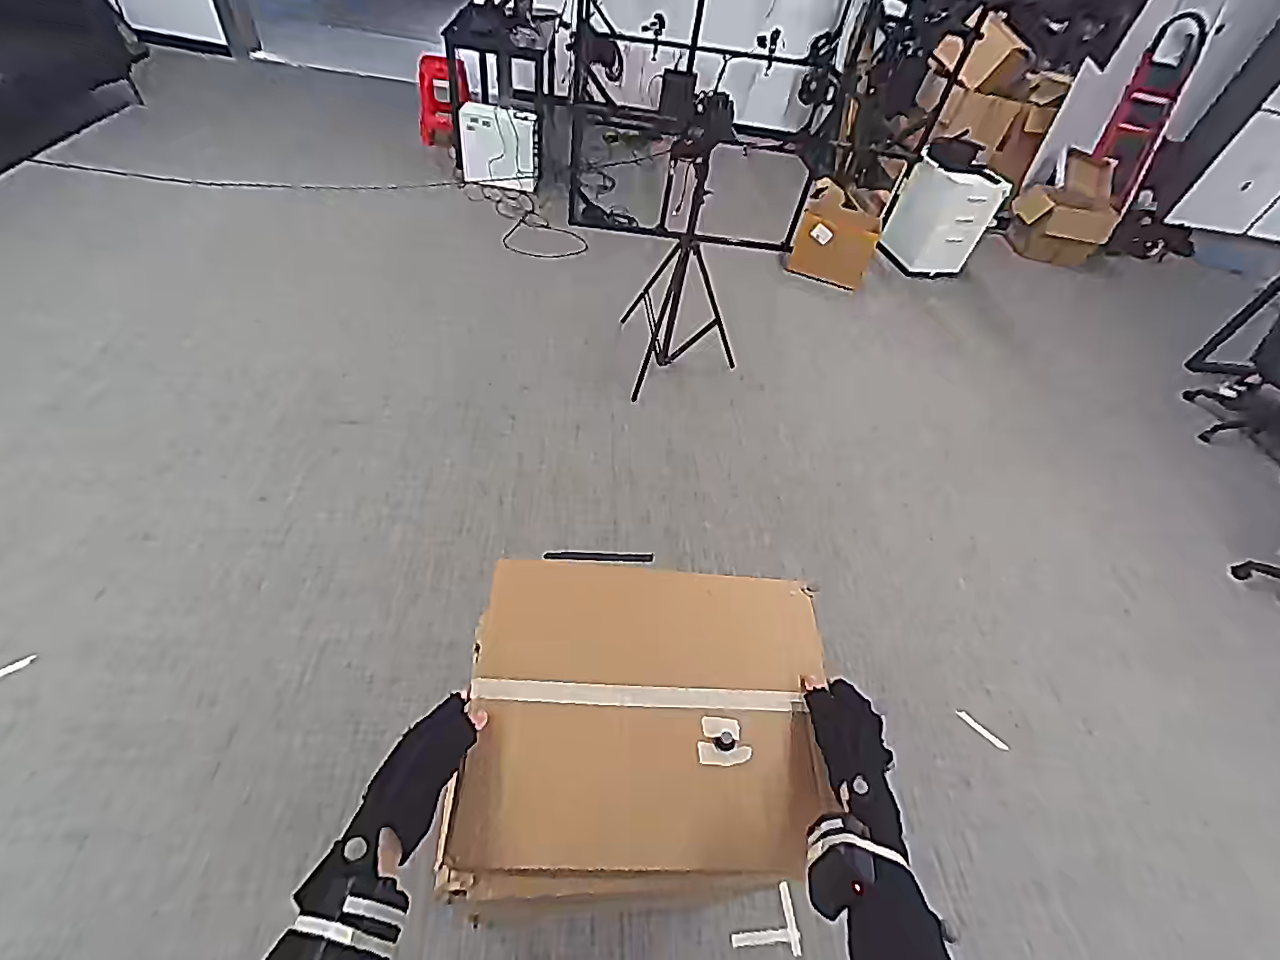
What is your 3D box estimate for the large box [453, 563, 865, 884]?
[{"bbox_3d":[0.000,0.327,0.709,0.408,0.320,0.320,5,52,-8],"label":"large box"}]
